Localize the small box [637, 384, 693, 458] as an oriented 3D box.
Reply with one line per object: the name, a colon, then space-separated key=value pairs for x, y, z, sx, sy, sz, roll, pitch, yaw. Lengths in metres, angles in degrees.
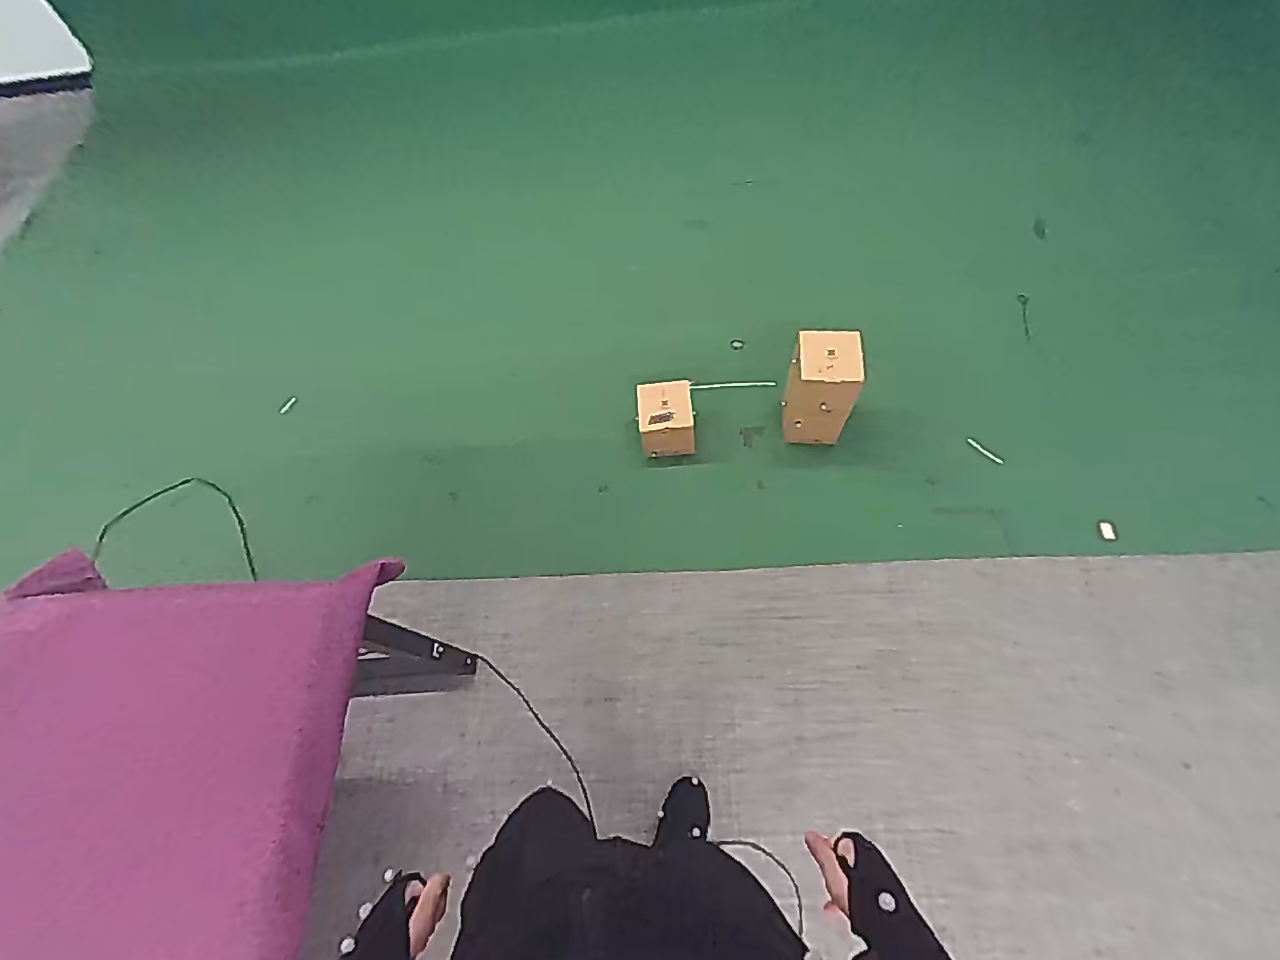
small box: x=0.082 y=-0.180 z=1.729 sx=0.168 sy=0.176 sz=0.179 roll=-5 pitch=63 yaw=3

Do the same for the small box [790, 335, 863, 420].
small box: x=0.529 y=-0.293 z=1.557 sx=0.168 sy=0.176 sz=0.179 roll=3 pitch=64 yaw=7
